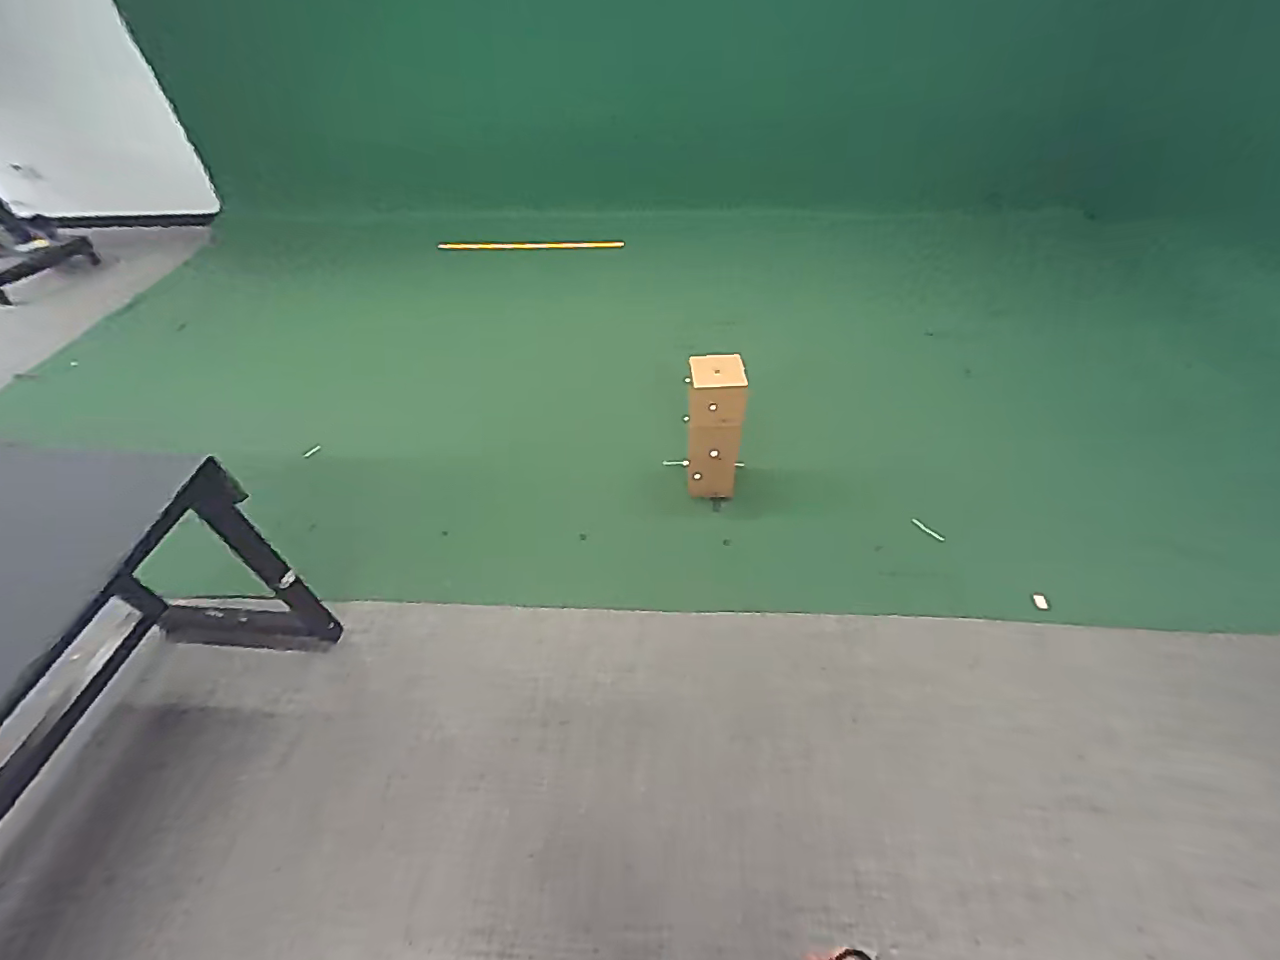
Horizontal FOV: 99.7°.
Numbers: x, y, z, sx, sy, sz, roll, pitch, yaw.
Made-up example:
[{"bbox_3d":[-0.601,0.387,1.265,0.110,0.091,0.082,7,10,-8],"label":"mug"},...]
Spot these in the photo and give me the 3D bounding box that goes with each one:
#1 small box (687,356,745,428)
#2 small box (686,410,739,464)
[{"bbox_3d":[0.244,-0.283,1.772,0.168,0.176,0.179,-3,45,0],"label":"small box"},{"bbox_3d":[0.249,-0.173,1.891,0.168,0.176,0.179,-2,46,2],"label":"small box"}]
